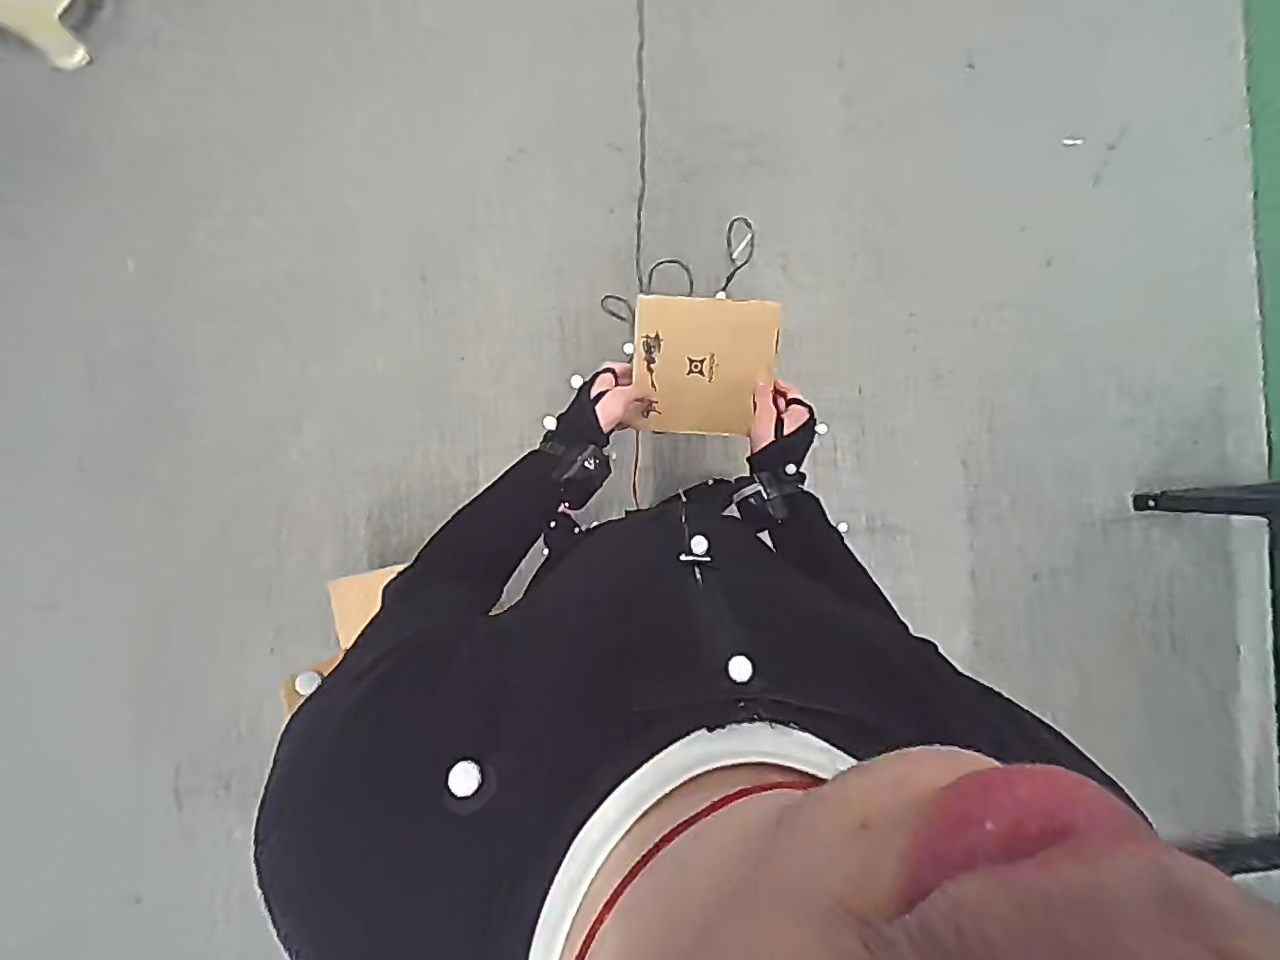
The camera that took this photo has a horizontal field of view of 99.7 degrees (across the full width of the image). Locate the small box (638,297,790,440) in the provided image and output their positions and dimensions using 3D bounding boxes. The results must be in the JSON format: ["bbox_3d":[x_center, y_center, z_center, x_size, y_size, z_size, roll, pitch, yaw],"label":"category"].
[{"bbox_3d":[0.094,-0.154,0.744,0.179,0.176,0.168,4,103,4],"label":"small box"}]
